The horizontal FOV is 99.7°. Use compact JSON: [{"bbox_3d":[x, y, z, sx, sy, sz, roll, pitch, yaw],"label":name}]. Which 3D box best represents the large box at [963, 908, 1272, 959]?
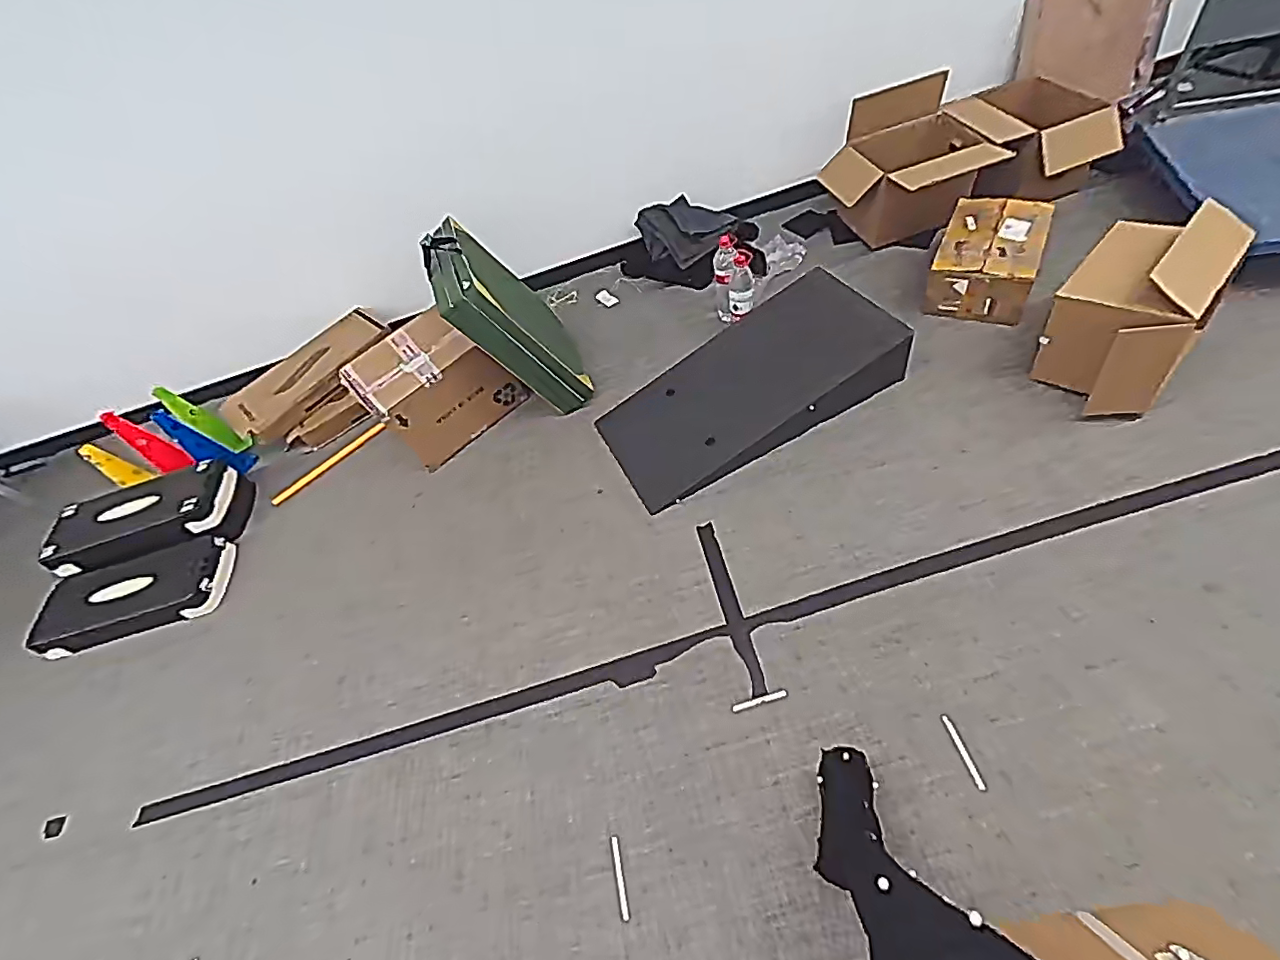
[{"bbox_3d":[0.612,0.716,0.543,0.320,0.408,0.320,-9,73,6],"label":"large box"}]
